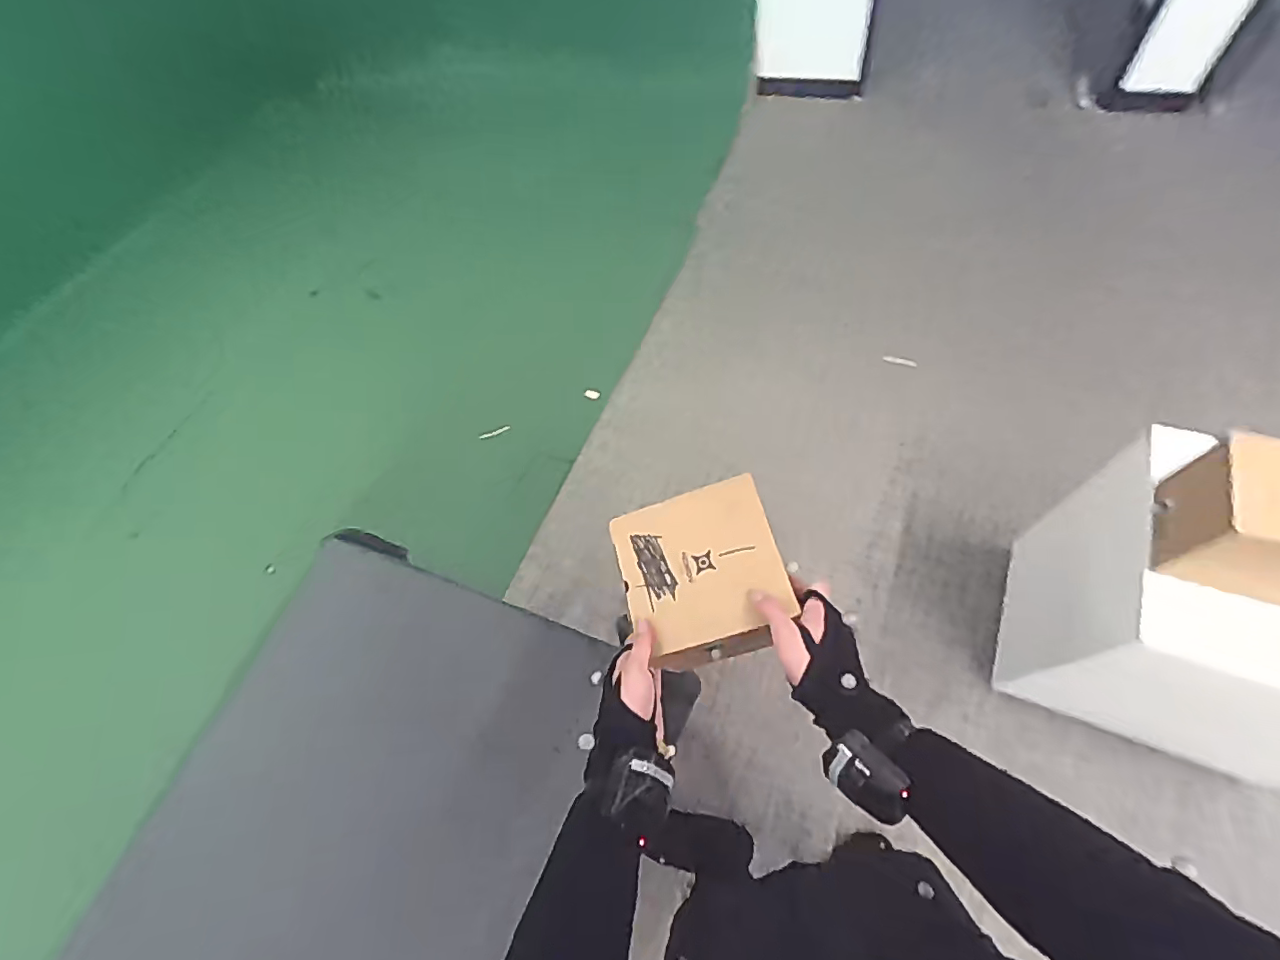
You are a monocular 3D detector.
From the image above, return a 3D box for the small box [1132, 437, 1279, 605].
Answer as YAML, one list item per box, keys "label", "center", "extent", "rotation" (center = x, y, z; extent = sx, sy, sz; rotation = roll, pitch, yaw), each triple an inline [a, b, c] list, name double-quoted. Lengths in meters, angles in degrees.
- label: "small box"
  center: [0.876, 0.067, 0.789]
  extent: [0.179, 0.176, 0.168]
  rotation: [16, 63, 16]

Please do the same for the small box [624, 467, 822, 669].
- label: "small box"
  center: [0.100, 0.113, 0.634]
  extent: [0.179, 0.176, 0.168]
  rotation: [-18, 63, 7]
